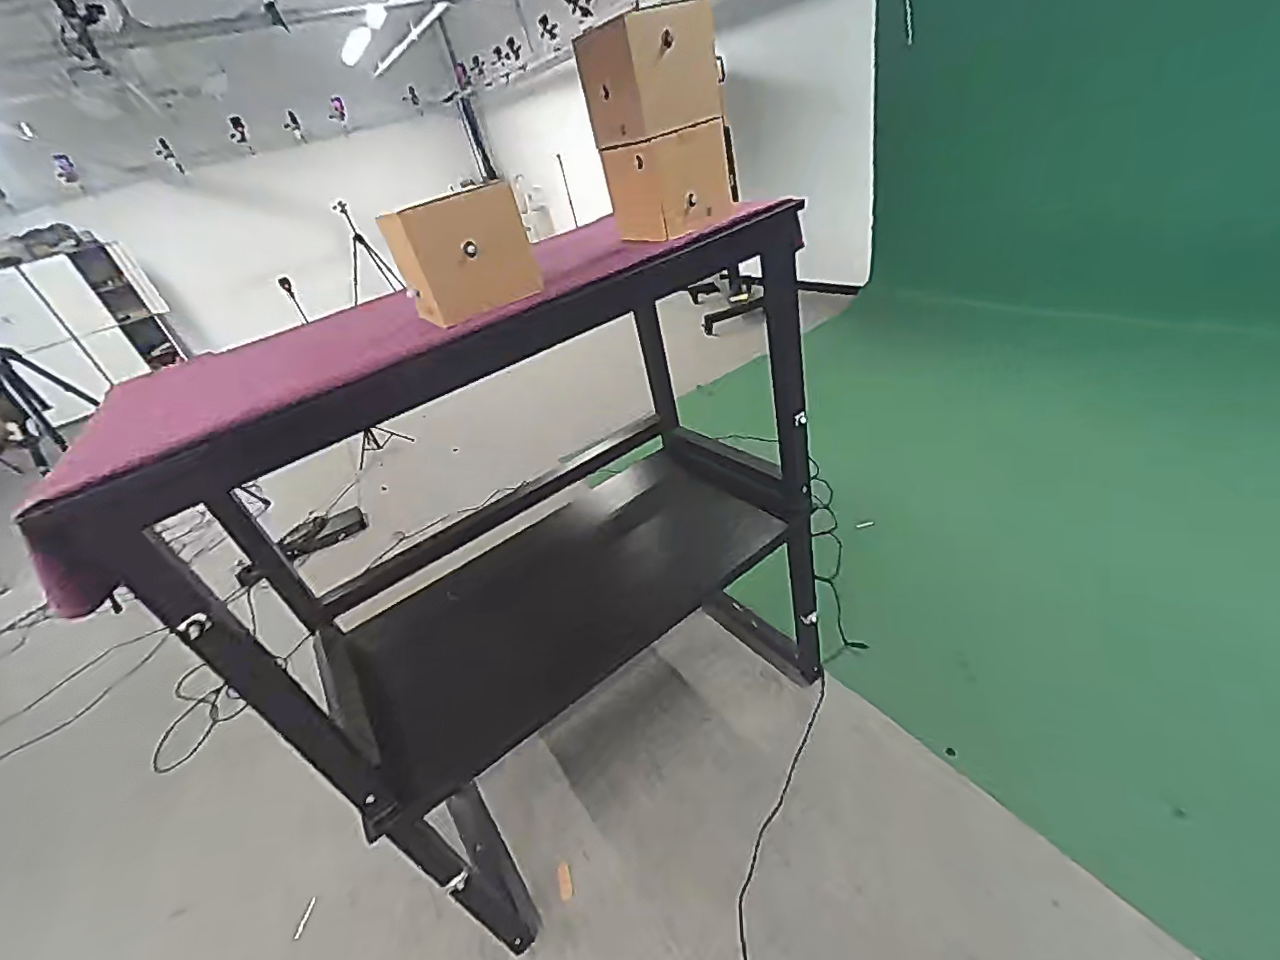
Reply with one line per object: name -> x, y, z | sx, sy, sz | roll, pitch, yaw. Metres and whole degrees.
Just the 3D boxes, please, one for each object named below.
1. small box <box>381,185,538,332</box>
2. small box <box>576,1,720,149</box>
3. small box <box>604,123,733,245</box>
small box -> -0.282, -0.357, 0.870 | 0.179, 0.176, 0.168 | -31, 34, -21
small box -> 0.019, -0.690, 0.943 | 0.179, 0.176, 0.168 | -31, 37, -21
small box -> 0.057, -0.562, 1.041 | 0.168, 0.176, 0.179 | -31, 37, -22
